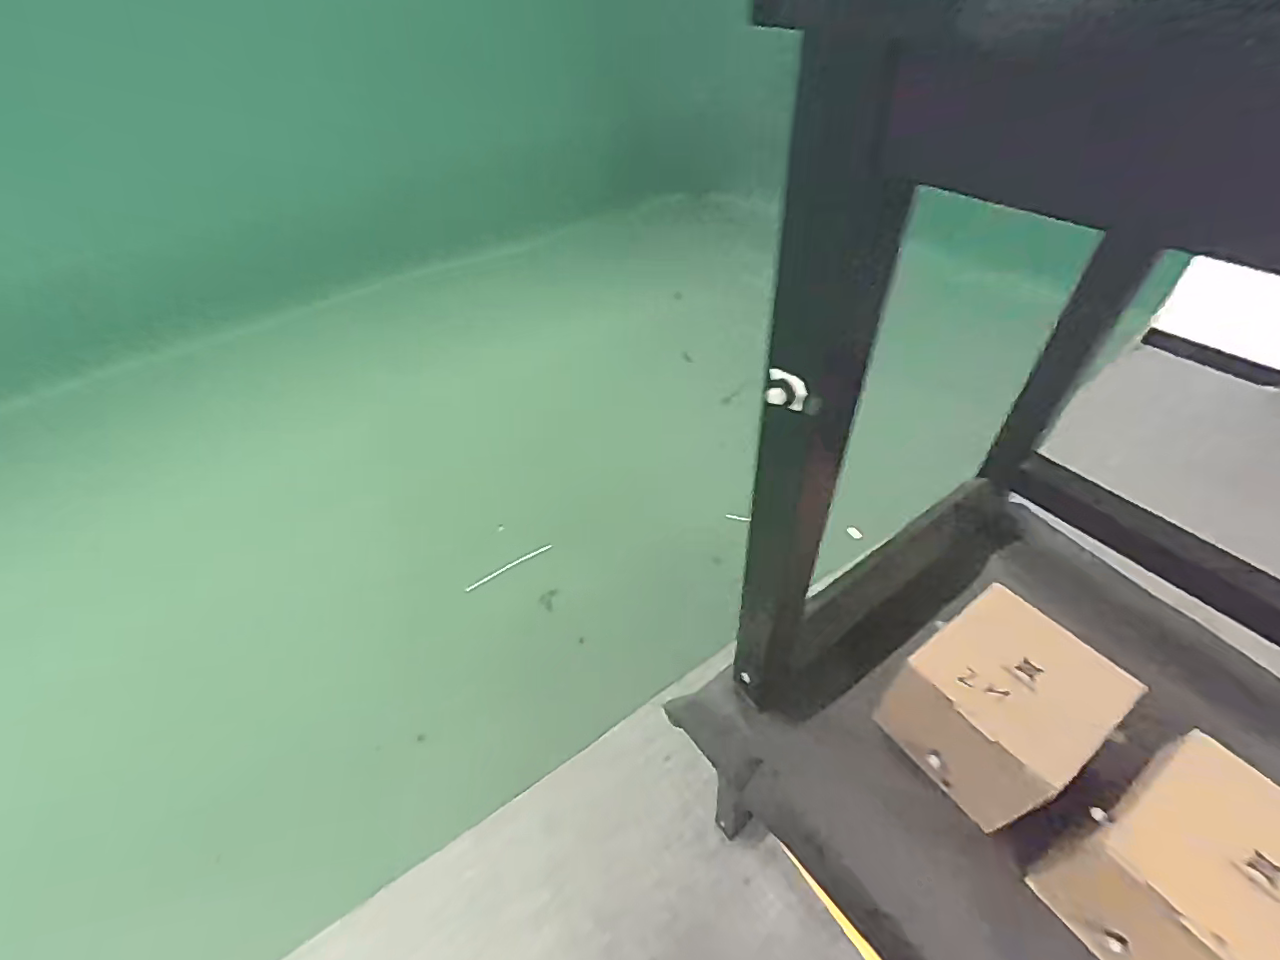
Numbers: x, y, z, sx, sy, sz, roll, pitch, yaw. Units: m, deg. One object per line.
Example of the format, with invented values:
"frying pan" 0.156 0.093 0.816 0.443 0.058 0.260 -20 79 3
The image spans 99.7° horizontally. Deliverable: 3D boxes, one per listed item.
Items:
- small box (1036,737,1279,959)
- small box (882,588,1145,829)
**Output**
"small box" 0.531 0.390 0.515 0.179 0.176 0.168 -28 50 -20
"small box" 0.420 0.269 0.641 0.179 0.176 0.168 -28 50 -21
